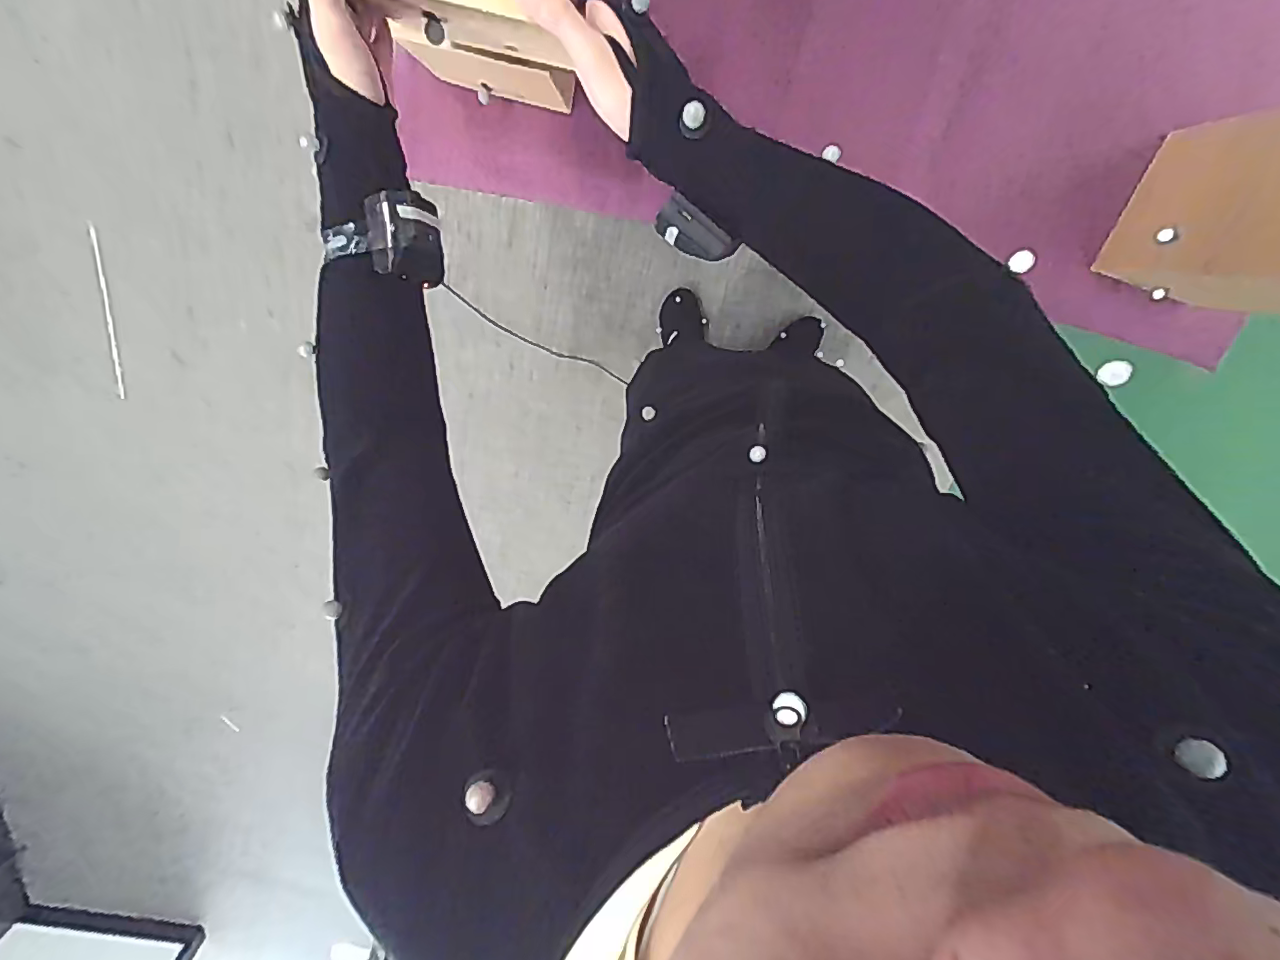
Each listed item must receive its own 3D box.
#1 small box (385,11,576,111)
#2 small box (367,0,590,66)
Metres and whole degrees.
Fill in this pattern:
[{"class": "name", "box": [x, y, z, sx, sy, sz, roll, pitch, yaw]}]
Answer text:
[{"class": "small box", "box": [-0.152, -0.534, 0.582, 0.168, 0.176, 0.179, 12, 113, -4]}, {"class": "small box", "box": [-0.120, -0.429, 0.386, 0.168, 0.176, 0.179, 11, 118, -4]}]
